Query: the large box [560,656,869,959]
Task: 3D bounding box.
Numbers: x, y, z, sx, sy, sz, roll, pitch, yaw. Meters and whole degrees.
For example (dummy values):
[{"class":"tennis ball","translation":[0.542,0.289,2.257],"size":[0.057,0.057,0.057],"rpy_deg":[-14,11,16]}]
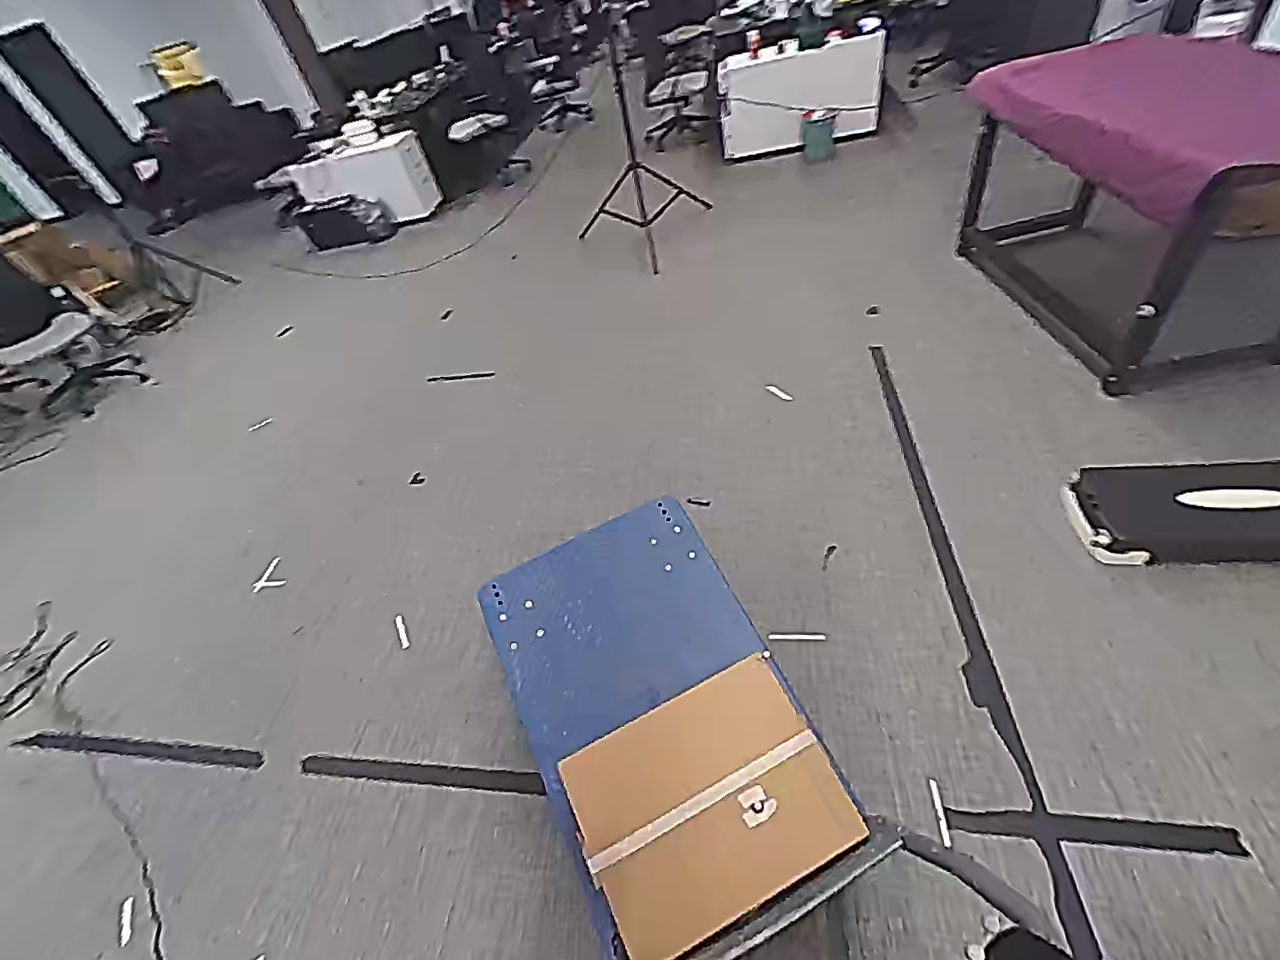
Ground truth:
[{"class":"large box","translation":[0.119,0.587,0.985],"size":[0.408,0.320,0.320],"rpy_deg":[-26,62,-10]}]
